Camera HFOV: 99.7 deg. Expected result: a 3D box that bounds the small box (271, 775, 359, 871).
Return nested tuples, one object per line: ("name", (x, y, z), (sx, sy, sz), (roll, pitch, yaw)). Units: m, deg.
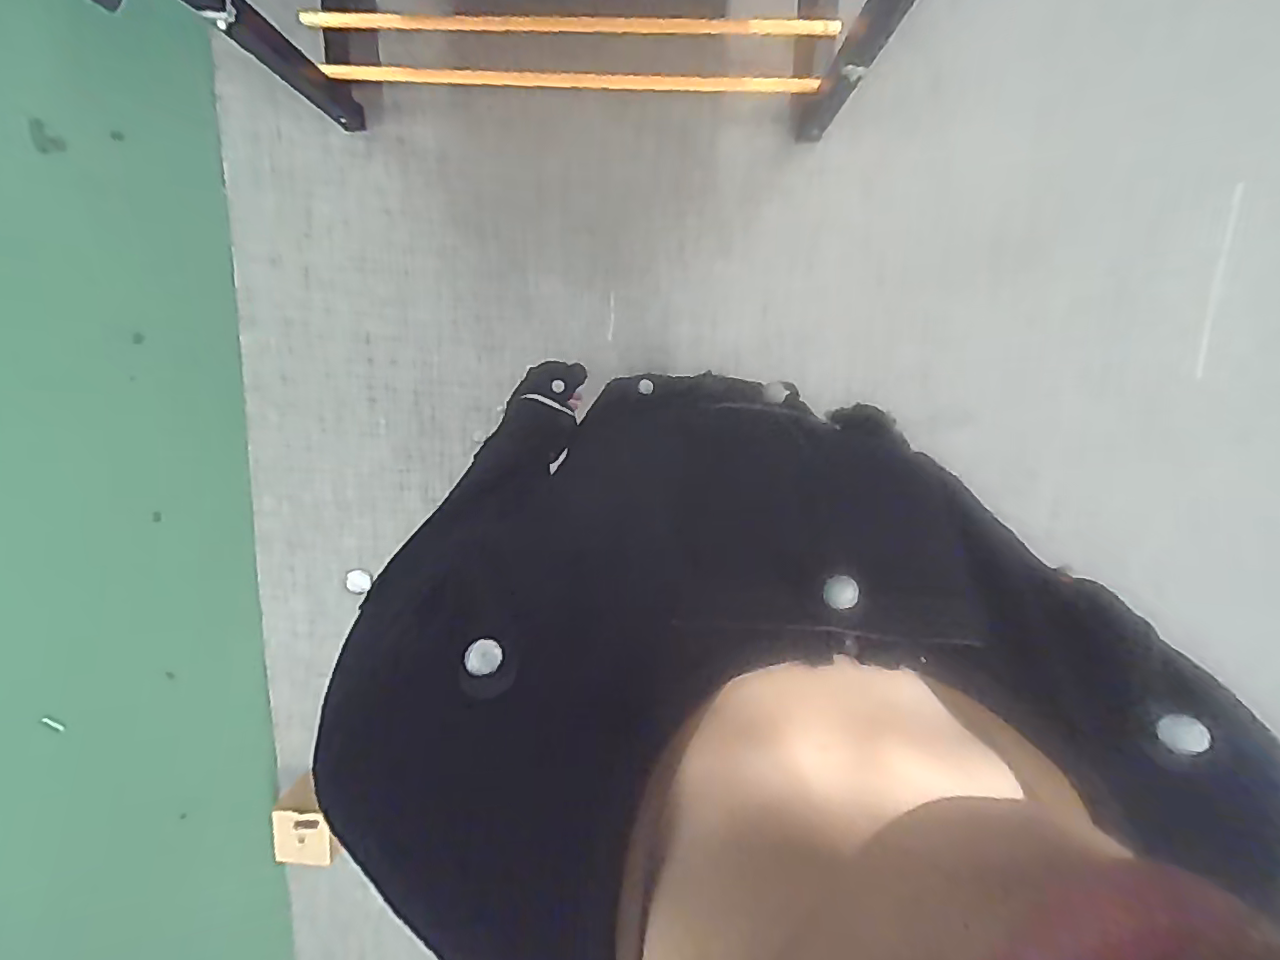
("small box", (-0.960, 1.012, 1.607), (0.168, 0.176, 0.179), (5, 101, 1))
